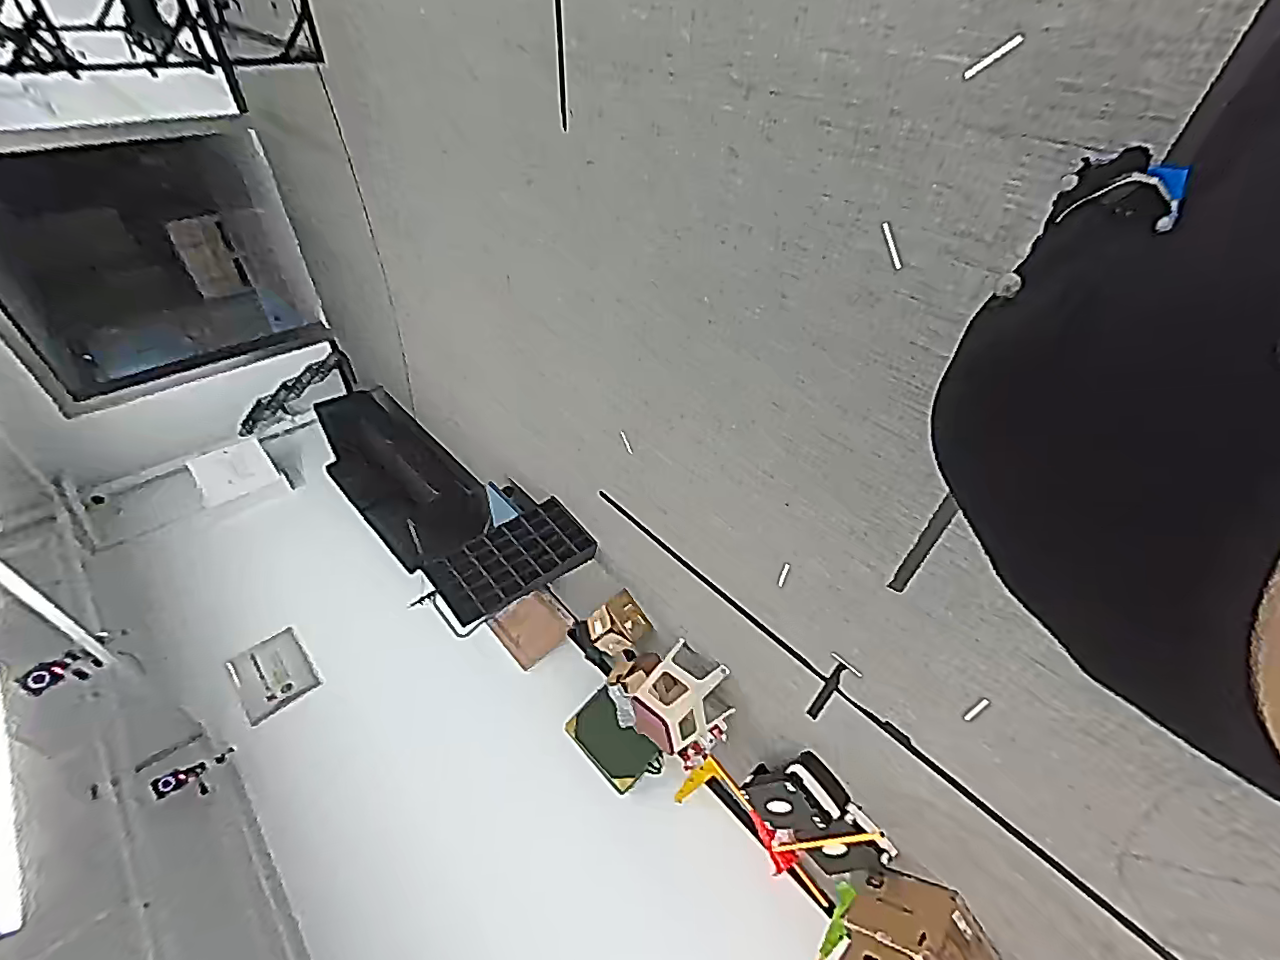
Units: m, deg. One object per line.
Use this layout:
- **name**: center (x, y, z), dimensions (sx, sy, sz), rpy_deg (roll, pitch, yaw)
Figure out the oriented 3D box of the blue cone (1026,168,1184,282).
- **blue cone**: center (0.801, -0.432, 0.982), dimensions (0.192, 0.380, 0.193), rpy_deg (36, 141, 34)
